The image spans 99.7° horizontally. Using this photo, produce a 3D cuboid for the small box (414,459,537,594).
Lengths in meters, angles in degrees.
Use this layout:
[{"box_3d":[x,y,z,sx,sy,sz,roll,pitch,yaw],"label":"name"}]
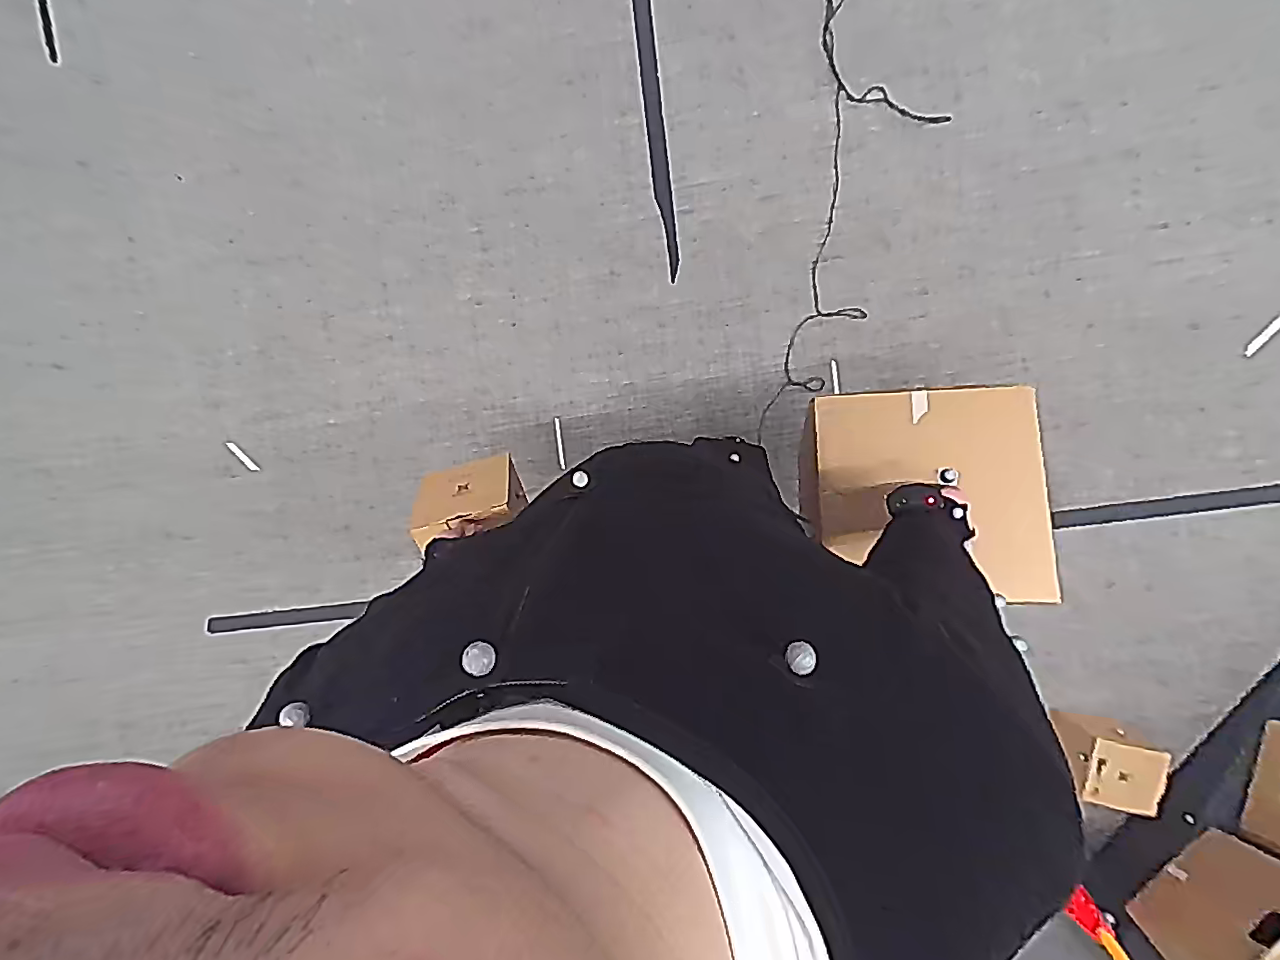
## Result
[{"box_3d":[-0.294,0.090,1.003,0.168,0.179,0.176,-15,121,-4],"label":"small box"}]
